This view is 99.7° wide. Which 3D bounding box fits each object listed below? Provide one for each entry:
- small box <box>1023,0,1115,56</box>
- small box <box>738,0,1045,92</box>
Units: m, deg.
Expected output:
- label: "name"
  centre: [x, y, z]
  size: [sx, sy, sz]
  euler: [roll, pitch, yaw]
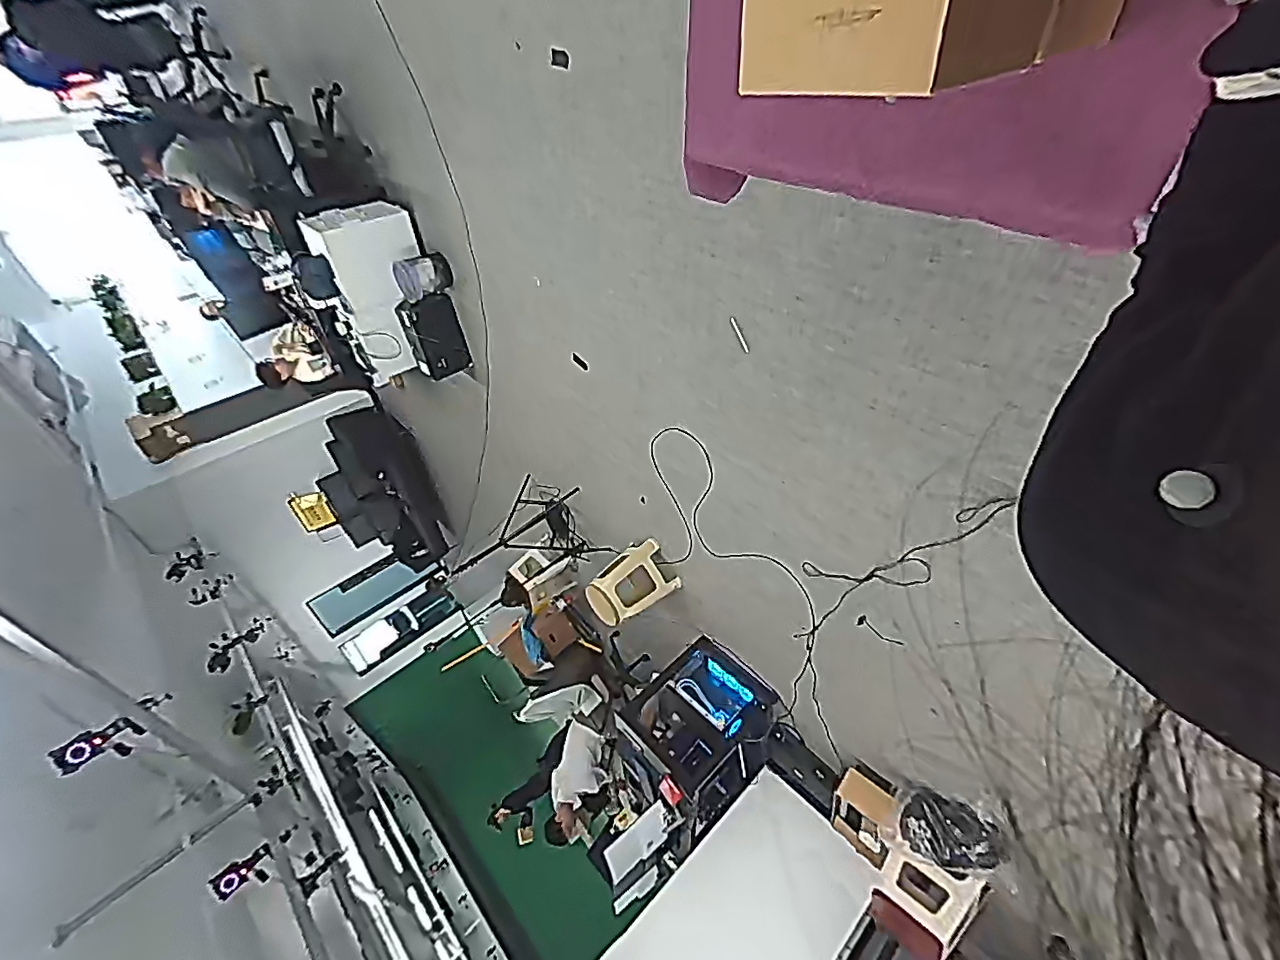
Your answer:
- label: "small box"
  centre: [0.311, -0.476, 0.467]
  size: [0.179, 0.176, 0.168]
  euler: [33, 144, 35]
- label: "small box"
  centre: [0.191, -0.398, 0.390]
  size: [0.168, 0.176, 0.179]
  euler: [34, 145, 38]
